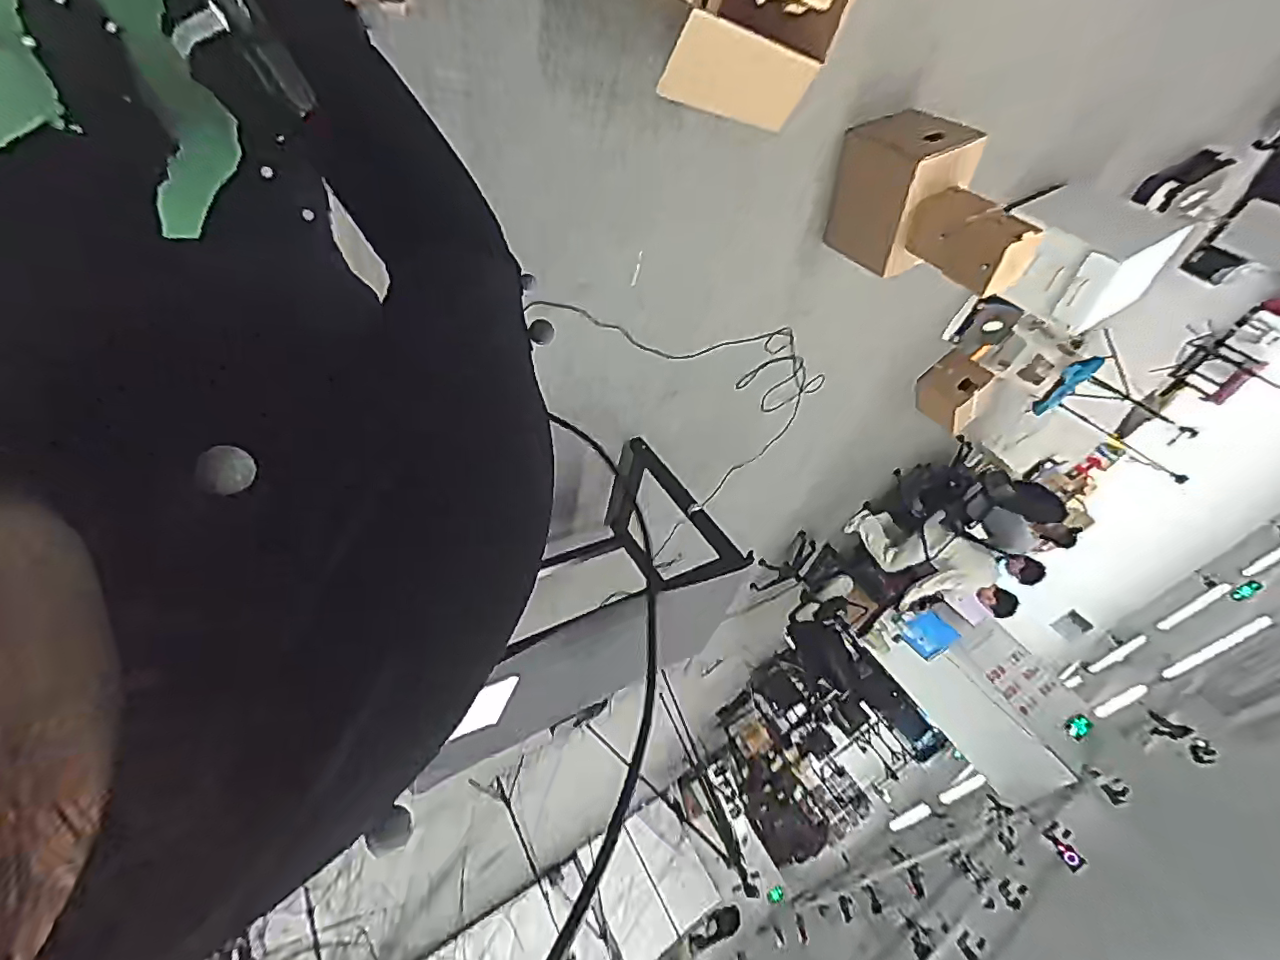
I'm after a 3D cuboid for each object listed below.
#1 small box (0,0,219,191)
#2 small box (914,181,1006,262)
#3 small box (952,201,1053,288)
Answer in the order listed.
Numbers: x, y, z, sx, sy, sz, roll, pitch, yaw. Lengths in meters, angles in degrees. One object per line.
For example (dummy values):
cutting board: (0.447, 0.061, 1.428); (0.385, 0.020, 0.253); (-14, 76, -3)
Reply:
small box: (-0.806, -0.596, 0.831); (0.179, 0.168, 0.176); (-63, 175, -5)
small box: (1.035, -0.852, 1.768); (0.168, 0.176, 0.179); (-27, 145, -16)
small box: (1.118, -0.737, 1.687); (0.168, 0.176, 0.179); (-26, 144, -16)
